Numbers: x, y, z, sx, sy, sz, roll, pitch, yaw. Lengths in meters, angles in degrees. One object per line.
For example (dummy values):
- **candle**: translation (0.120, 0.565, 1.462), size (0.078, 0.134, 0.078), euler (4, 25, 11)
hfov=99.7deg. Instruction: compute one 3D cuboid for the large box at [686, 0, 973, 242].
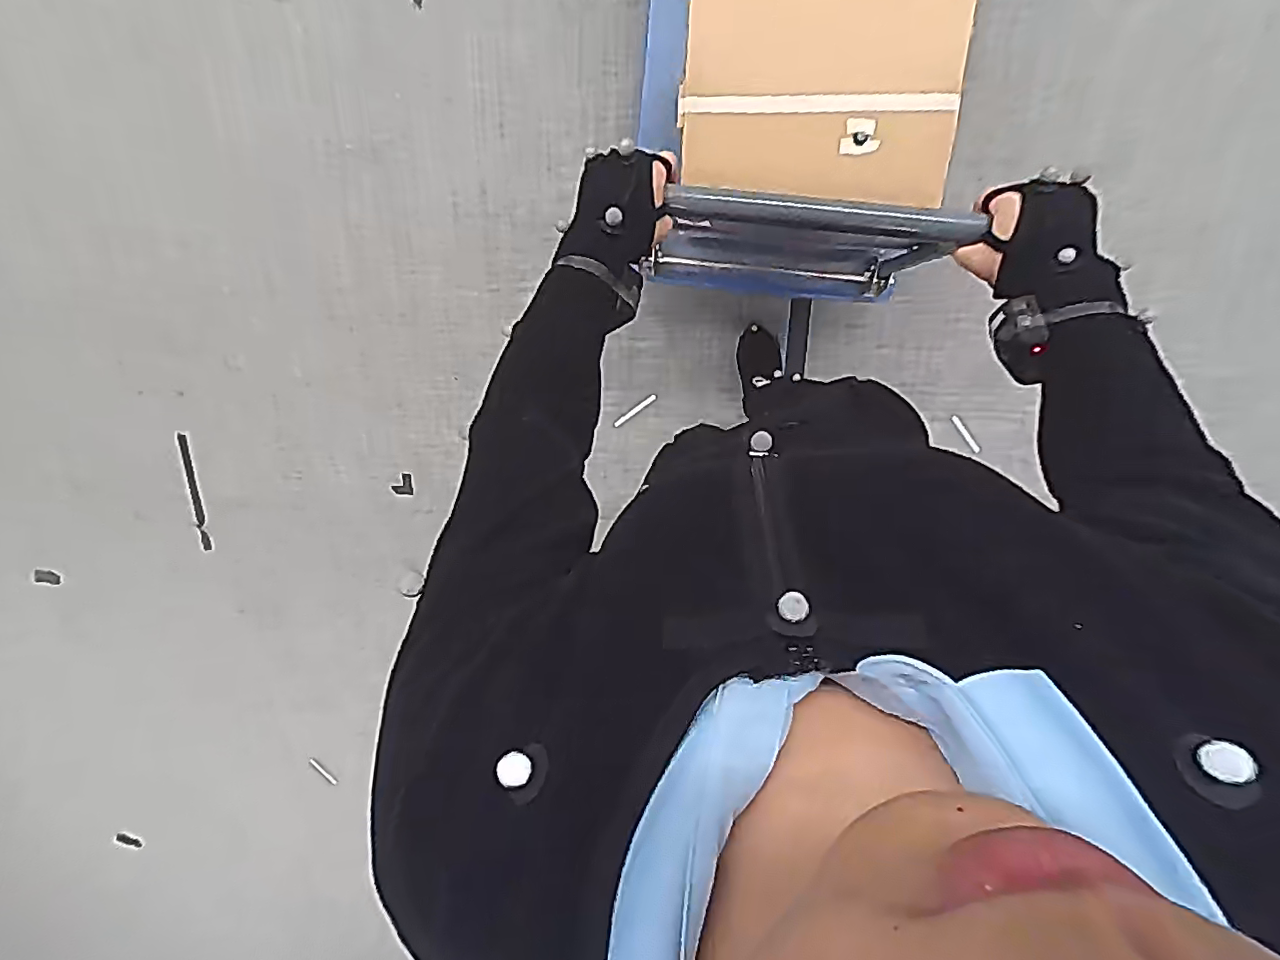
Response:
- **large box**: translation (0.287, -0.611, 0.964), size (0.408, 0.320, 0.320), euler (3, 109, 5)
